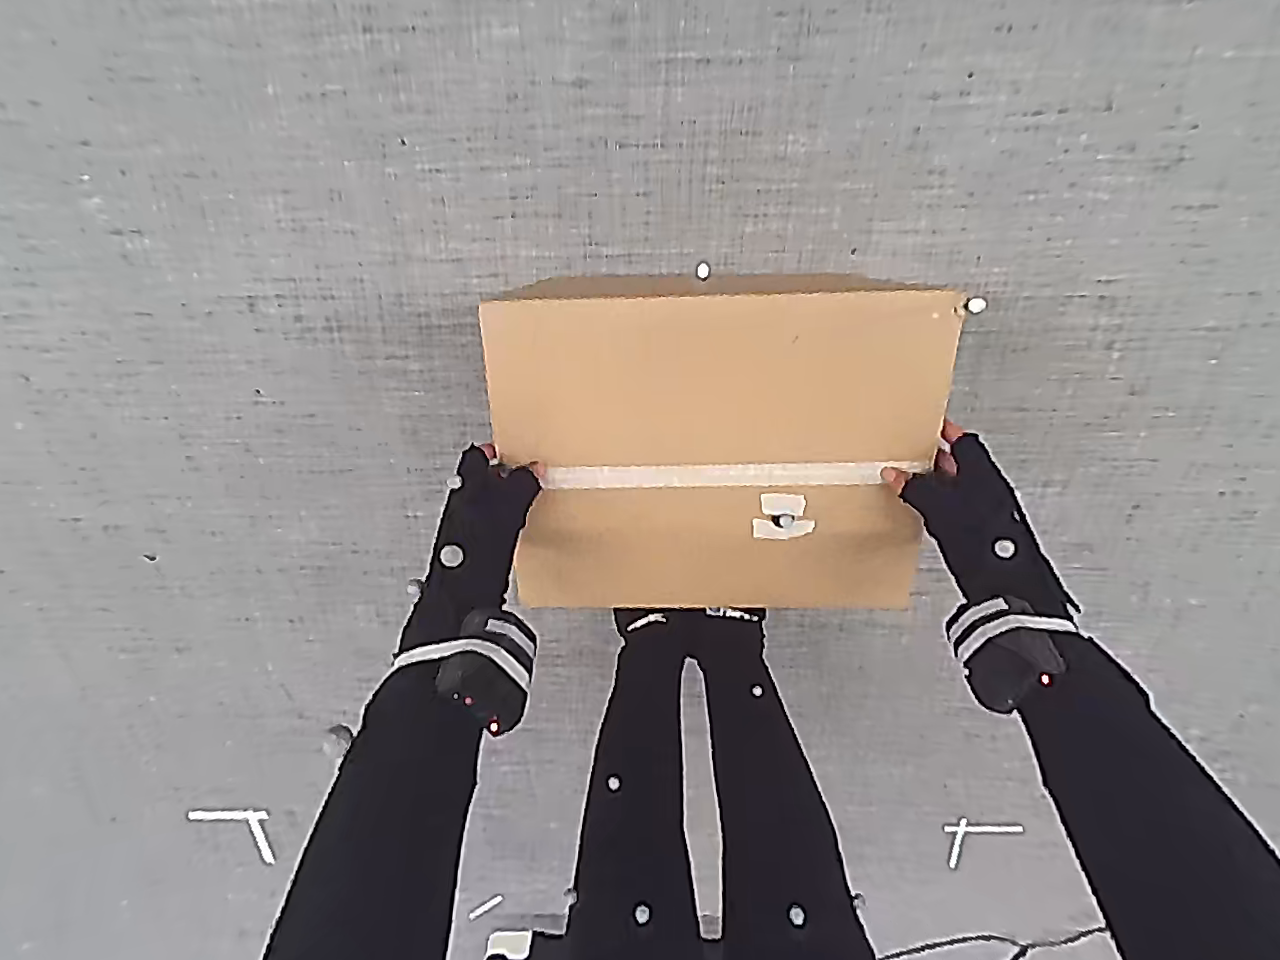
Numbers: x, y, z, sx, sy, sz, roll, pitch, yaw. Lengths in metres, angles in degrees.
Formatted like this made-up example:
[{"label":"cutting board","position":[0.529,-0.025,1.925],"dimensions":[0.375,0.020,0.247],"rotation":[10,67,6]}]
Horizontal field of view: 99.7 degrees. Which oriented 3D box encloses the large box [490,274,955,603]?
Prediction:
[{"label":"large box","position":[0.075,-0.073,0.653],"dimensions":[0.408,0.320,0.320],"rotation":[-1,114,2]}]
